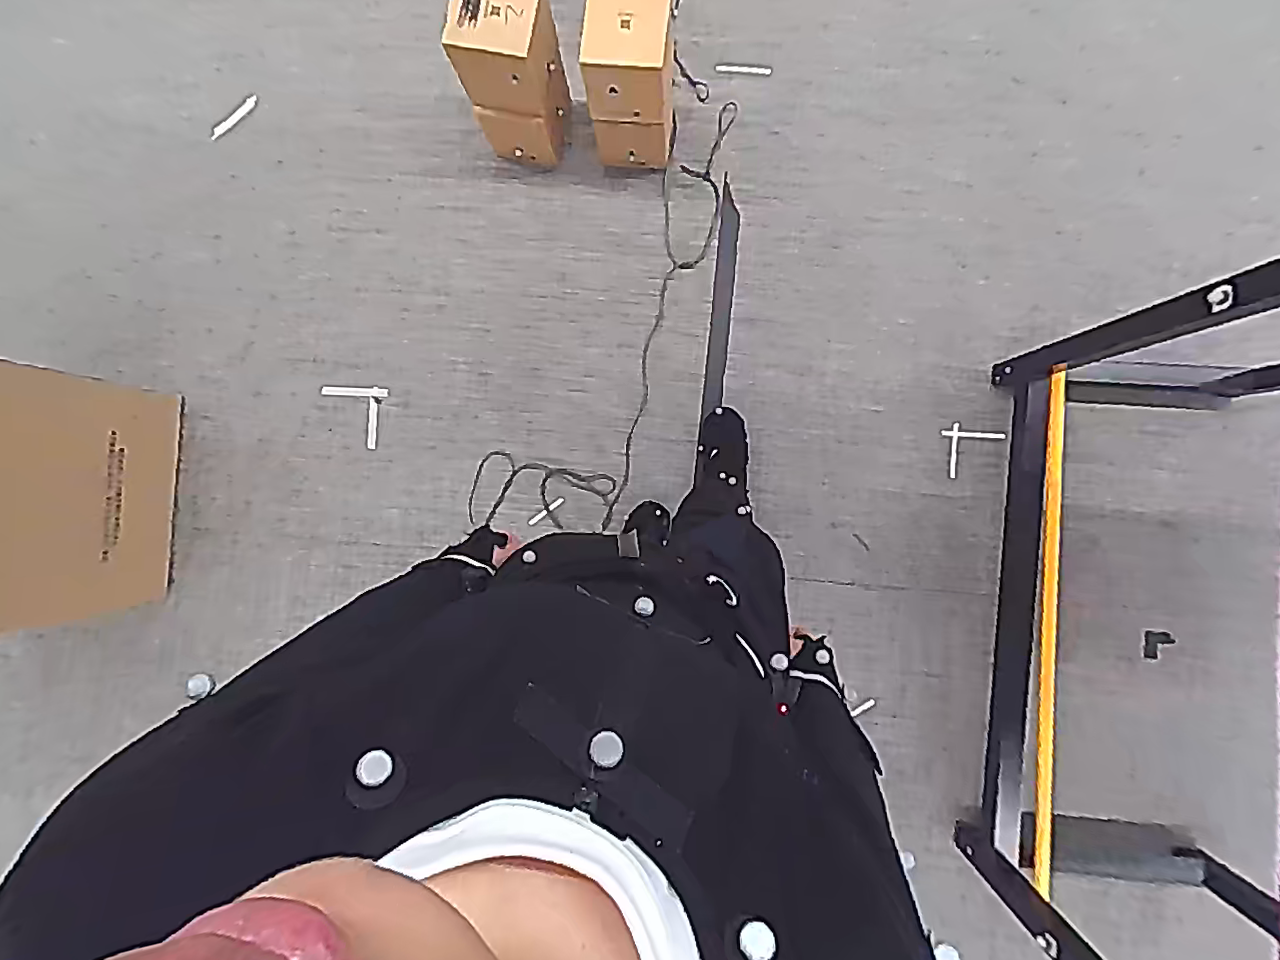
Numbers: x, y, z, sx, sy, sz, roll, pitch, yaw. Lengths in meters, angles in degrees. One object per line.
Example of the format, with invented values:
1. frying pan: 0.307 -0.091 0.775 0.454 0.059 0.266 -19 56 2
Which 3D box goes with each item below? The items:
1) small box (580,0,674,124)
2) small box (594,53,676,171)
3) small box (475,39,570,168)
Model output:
1. small box: -0.020 -0.875 1.118 0.168 0.176 0.179 6 88 4
2. small box: -0.008 -0.871 1.280 0.168 0.176 0.179 7 90 4
3. small box: -0.272 -0.891 1.292 0.168 0.176 0.179 12 90 3
